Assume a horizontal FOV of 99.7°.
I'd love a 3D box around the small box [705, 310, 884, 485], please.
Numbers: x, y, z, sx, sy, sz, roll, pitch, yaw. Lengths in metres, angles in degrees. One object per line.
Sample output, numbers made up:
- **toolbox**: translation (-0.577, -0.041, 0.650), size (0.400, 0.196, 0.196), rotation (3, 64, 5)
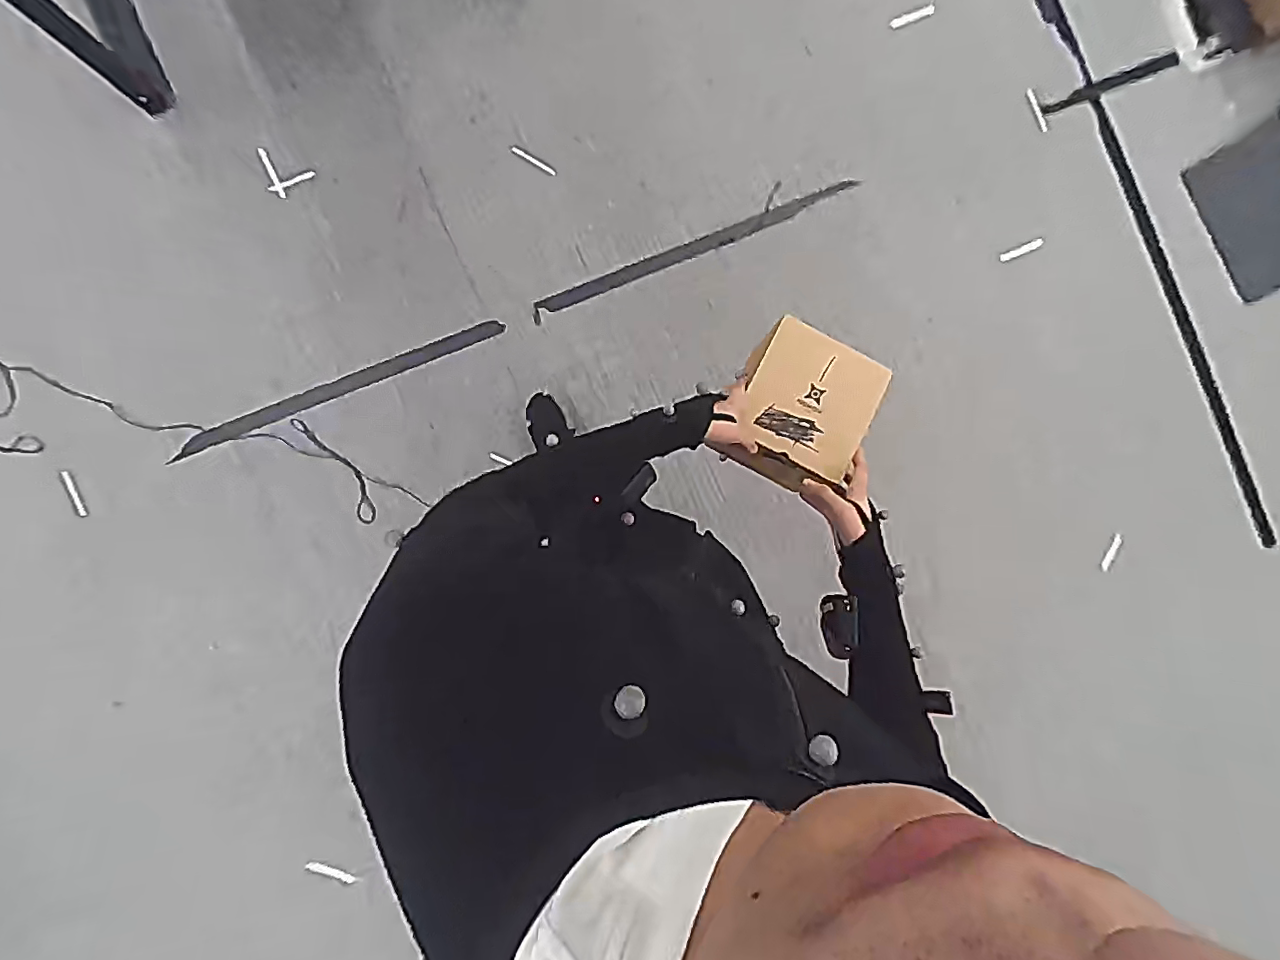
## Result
- **small box**: translation (0.206, -0.104, 0.777), size (0.168, 0.176, 0.179), rotation (27, 84, -2)
